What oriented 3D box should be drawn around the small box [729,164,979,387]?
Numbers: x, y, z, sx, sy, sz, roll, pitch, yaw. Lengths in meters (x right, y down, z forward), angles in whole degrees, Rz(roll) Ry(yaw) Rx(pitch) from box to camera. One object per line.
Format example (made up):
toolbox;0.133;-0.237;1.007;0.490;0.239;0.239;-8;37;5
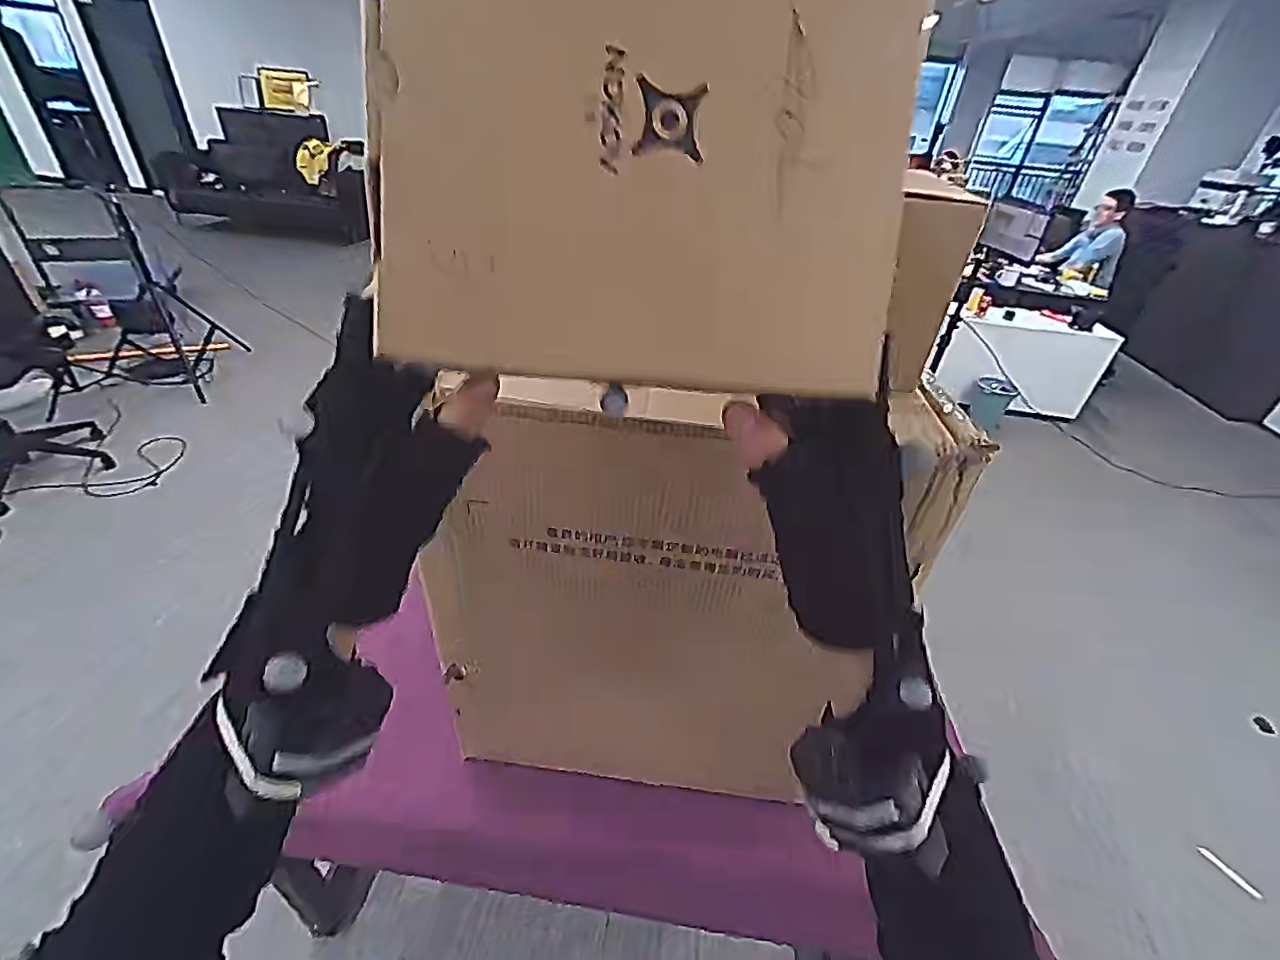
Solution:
small box;0.192;-0.208;0.548;0.179;0.176;0.168;7;35;3
